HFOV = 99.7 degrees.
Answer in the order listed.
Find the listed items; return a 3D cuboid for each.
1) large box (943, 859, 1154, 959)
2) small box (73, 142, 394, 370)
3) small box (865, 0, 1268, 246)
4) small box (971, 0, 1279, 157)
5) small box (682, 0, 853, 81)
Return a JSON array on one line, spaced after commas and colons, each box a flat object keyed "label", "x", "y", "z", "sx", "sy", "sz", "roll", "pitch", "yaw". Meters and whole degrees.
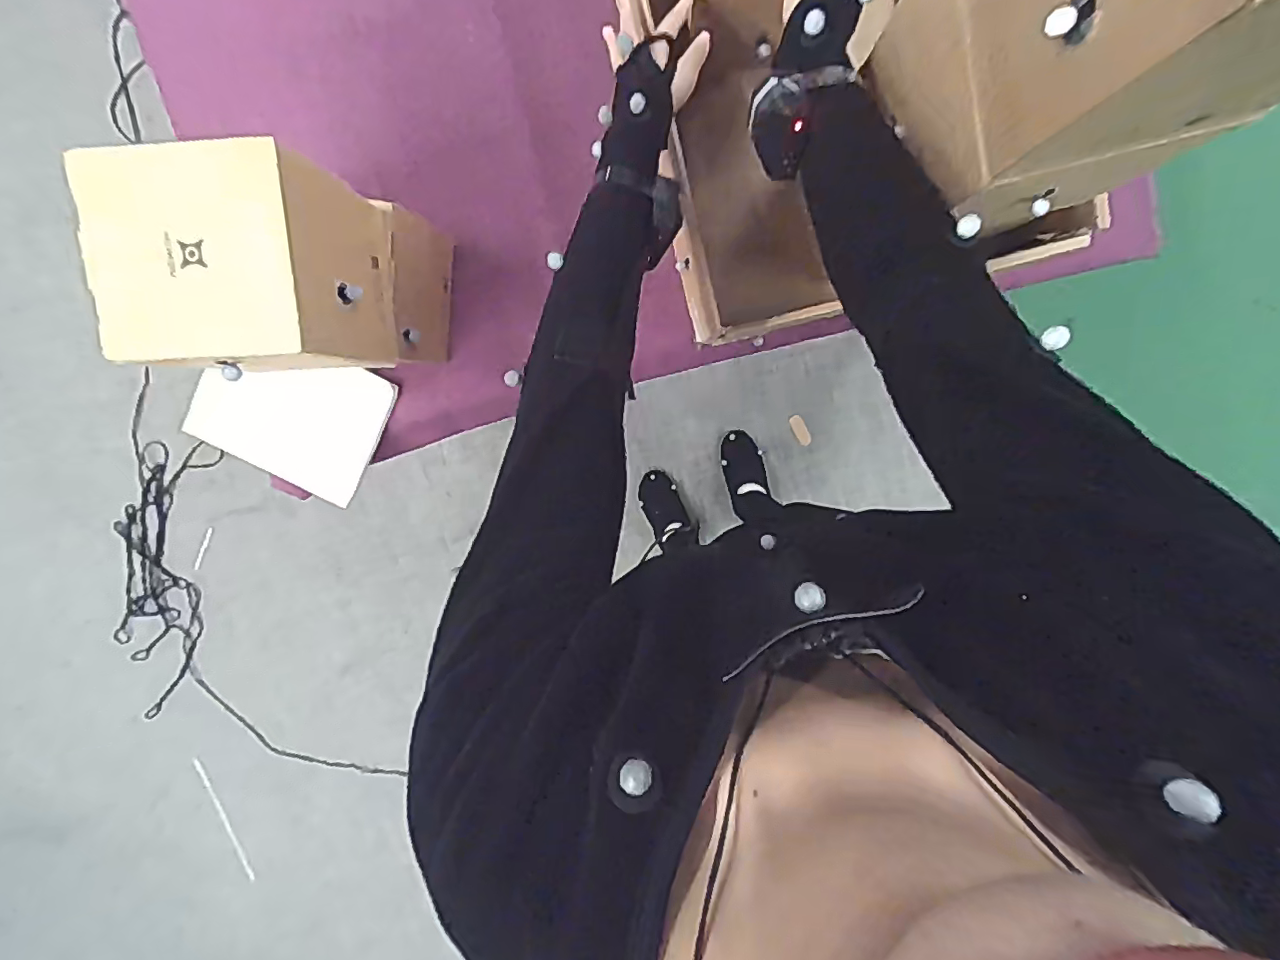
[{"label": "large box", "x": 1.162, "y": 1.374, "z": 1.502, "sx": 0.408, "sy": 0.320, "sz": 0.320, "roll": -30, "pitch": 96, "yaw": 5}, {"label": "small box", "x": -0.355, "y": -0.193, "z": 0.513, "sx": 0.179, "sy": 0.176, "sz": 0.168, "roll": -2, "pitch": 99, "yaw": 4}, {"label": "small box", "x": 0.297, "y": -0.300, "z": 0.413, "sx": 0.179, "sy": 0.176, "sz": 0.168, "roll": -12, "pitch": 98, "yaw": 7}, {"label": "small box", "x": 0.281, "y": -0.281, "z": 0.252, "sx": 0.168, "sy": 0.176, "sz": 0.179, "roll": -11, "pitch": 97, "yaw": 6}, {"label": "small box", "x": 0.125, "y": -0.556, "z": 0.550, "sx": 0.168, "sy": 0.176, "sz": 0.179, "roll": -6, "pitch": 99, "yaw": 4}]
